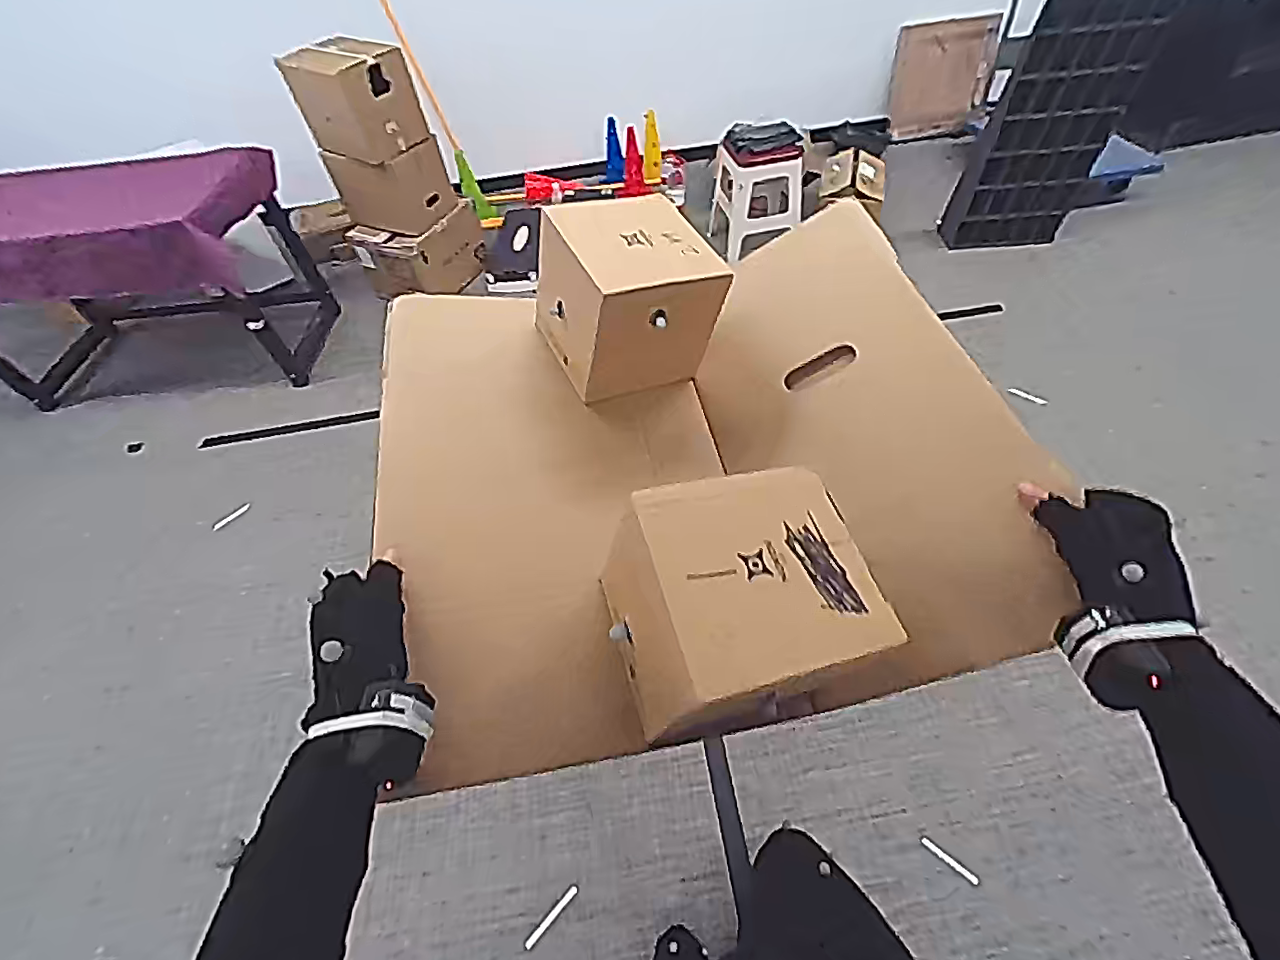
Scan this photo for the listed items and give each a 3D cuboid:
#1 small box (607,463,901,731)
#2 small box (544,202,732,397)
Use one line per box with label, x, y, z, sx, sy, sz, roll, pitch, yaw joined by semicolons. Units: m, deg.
small box;0.081;0.107;0.485;0.179;0.176;0.168;-9;59;-18
small box;-0.016;-0.229;0.697;0.179;0.176;0.168;-18;62;-25
